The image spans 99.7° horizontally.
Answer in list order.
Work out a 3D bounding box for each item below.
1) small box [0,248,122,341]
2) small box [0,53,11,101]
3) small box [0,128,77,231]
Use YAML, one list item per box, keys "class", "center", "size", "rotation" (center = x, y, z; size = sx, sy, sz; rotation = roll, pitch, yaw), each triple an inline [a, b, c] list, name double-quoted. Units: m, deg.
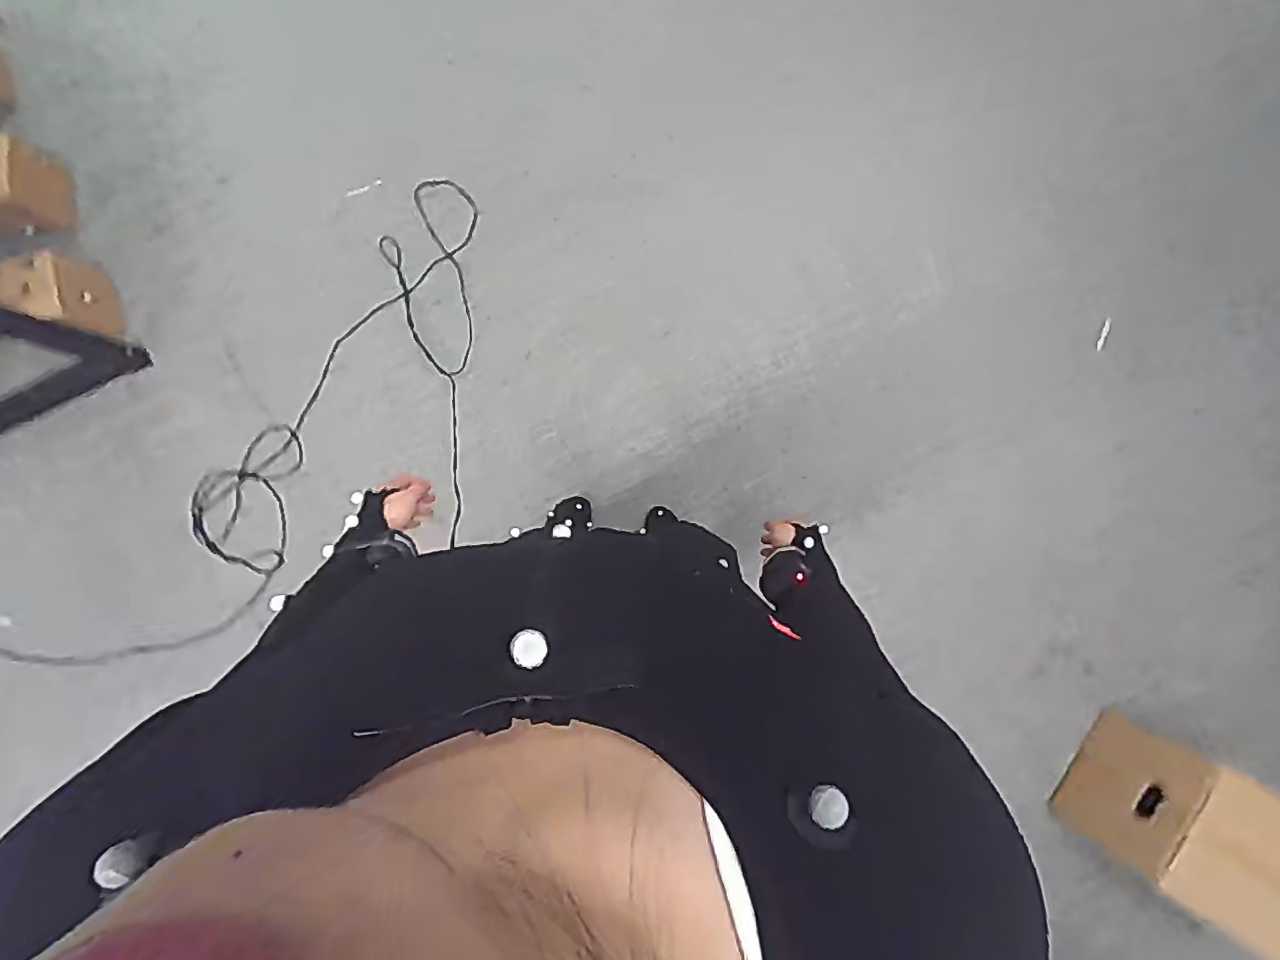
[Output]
- class: "small box"
  center: [-1.535, -0.480, 1.432]
  size: [0.168, 0.176, 0.179]
  rotation: [-14, 88, -2]
- class: "small box"
  center: [-1.883, -1.146, 1.461]
  size: [0.168, 0.176, 0.179]
  rotation: [-20, 86, -2]
- class: "small box"
  center: [-1.673, -0.798, 1.447]
  size: [0.168, 0.176, 0.179]
  rotation: [-6, 89, 0]
